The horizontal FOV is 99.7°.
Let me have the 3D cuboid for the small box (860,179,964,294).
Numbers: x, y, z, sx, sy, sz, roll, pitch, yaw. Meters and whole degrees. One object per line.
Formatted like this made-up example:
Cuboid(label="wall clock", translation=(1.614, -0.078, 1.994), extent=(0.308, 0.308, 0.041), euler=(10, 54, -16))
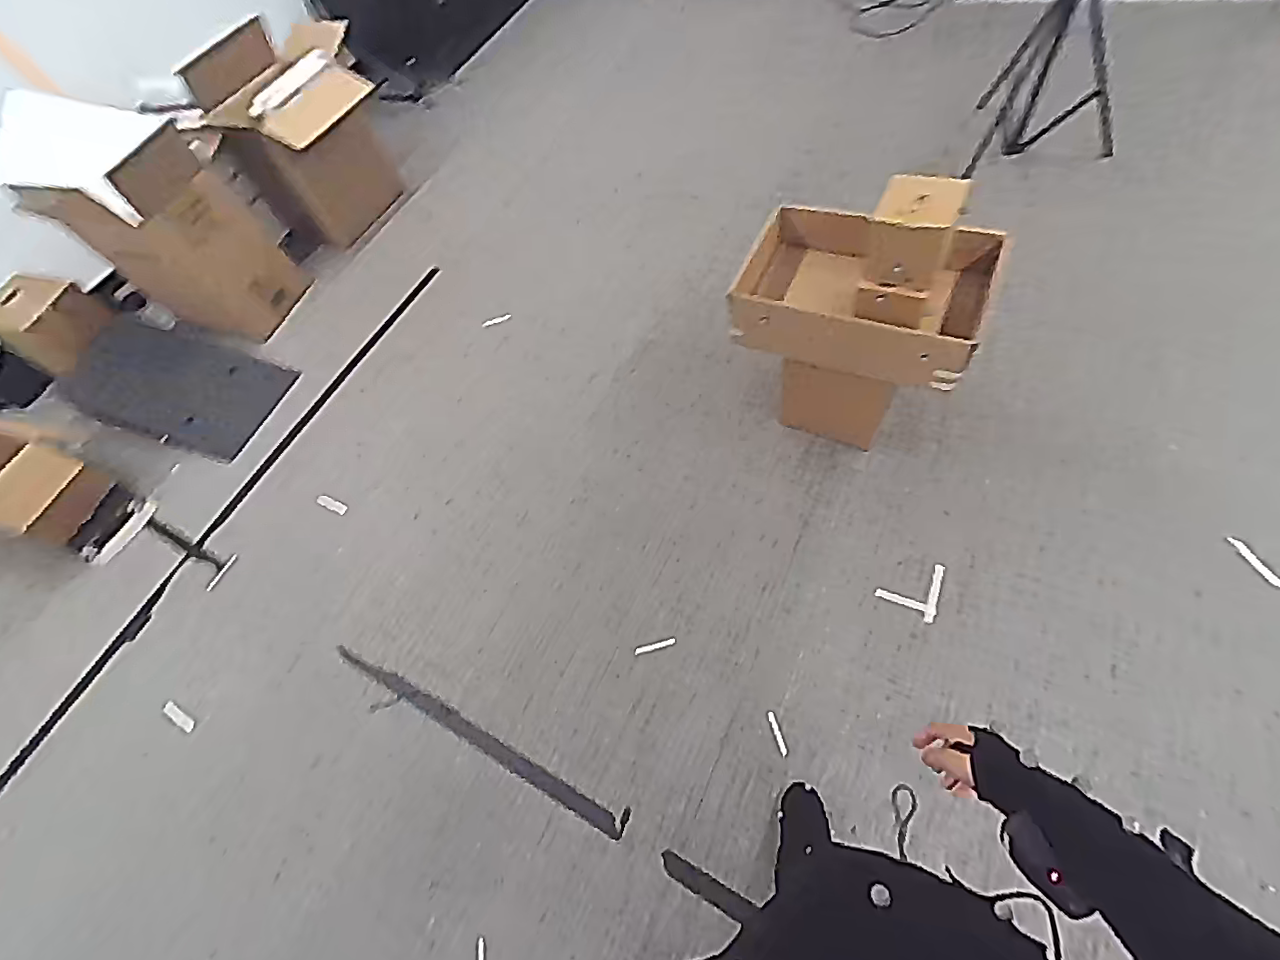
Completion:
Cuboid(label="small box", translation=(0.634, -0.575, 1.278), extent=(0.168, 0.176, 0.179), euler=(21, 67, 25))
